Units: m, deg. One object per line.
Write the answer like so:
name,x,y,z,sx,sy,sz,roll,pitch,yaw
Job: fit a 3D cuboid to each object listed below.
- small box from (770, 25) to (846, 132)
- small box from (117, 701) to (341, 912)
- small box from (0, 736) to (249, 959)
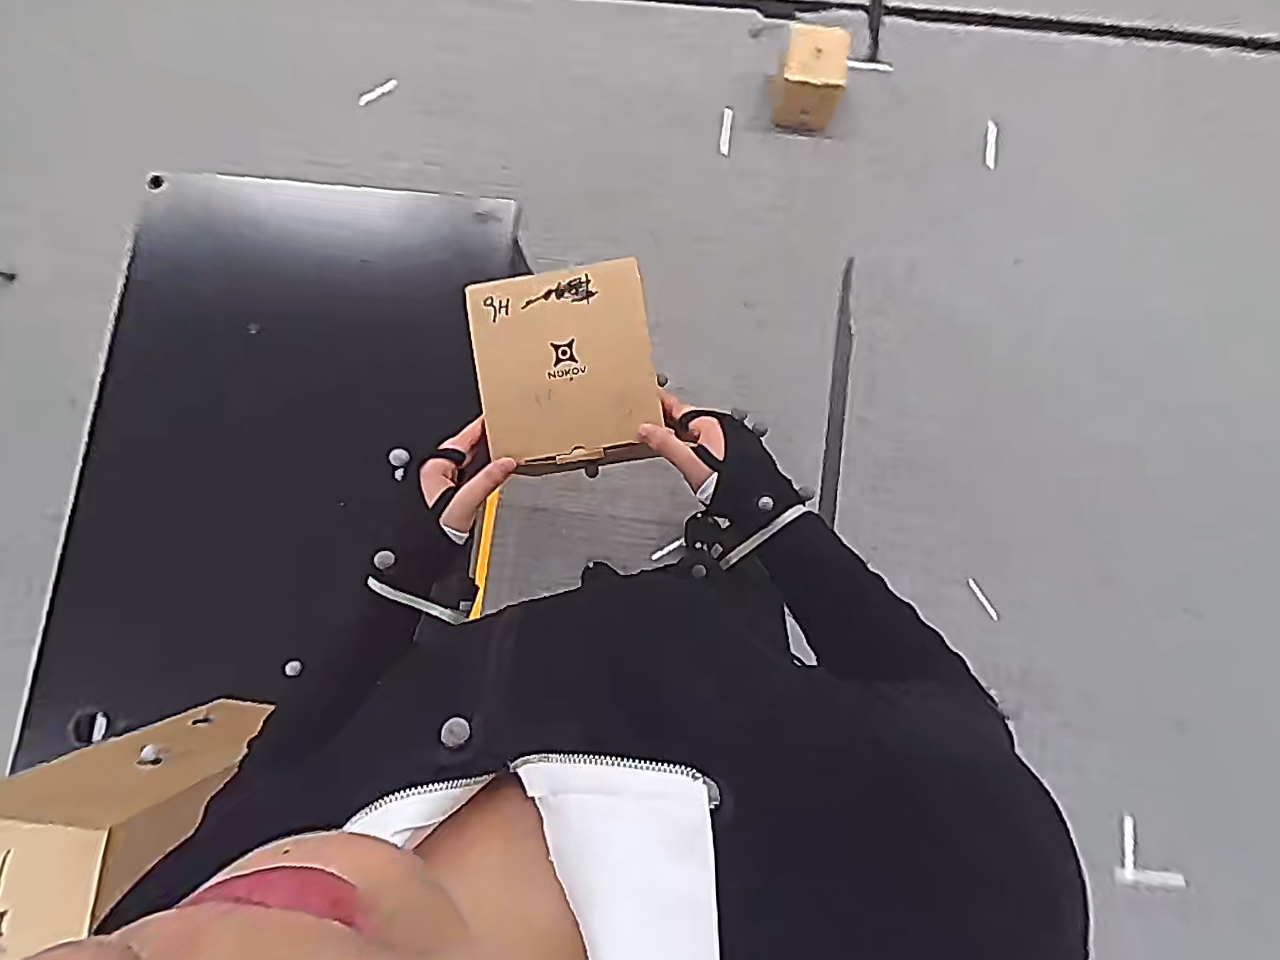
small box,0.484,-1.167,1.578,0.168,0.176,0.179,7,84,2
small box,-0.517,0.390,0.679,0.179,0.176,0.168,6,84,1
small box,-0.518,0.371,0.515,0.168,0.176,0.179,5,83,2
